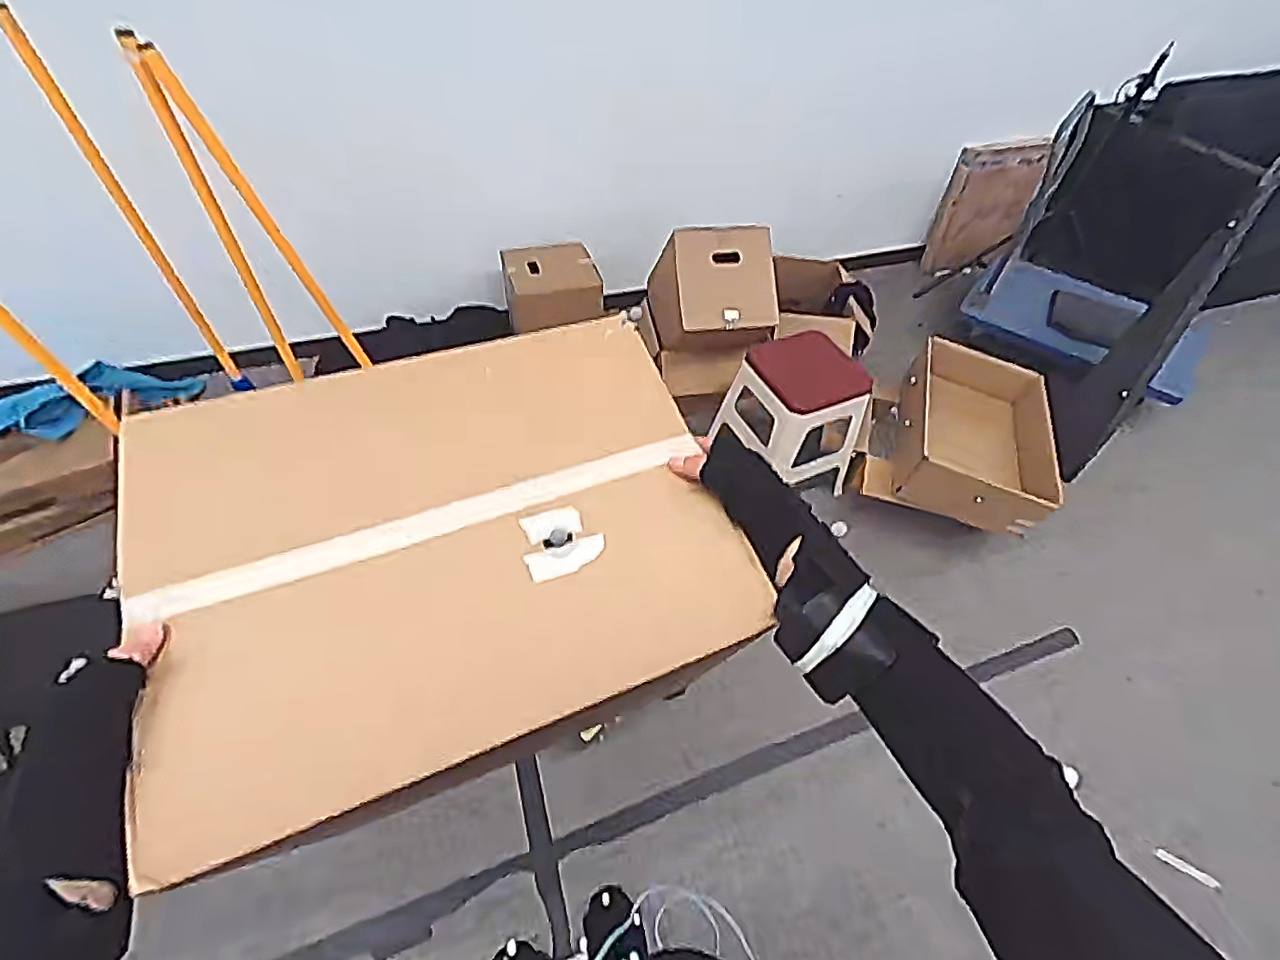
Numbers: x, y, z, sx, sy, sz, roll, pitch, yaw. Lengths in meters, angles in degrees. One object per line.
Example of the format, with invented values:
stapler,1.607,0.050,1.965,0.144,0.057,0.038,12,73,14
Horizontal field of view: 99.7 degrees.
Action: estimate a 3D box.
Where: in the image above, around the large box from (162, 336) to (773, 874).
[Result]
large box,-0.153,0.111,0.546,0.408,0.320,0.320,-17,66,-17
